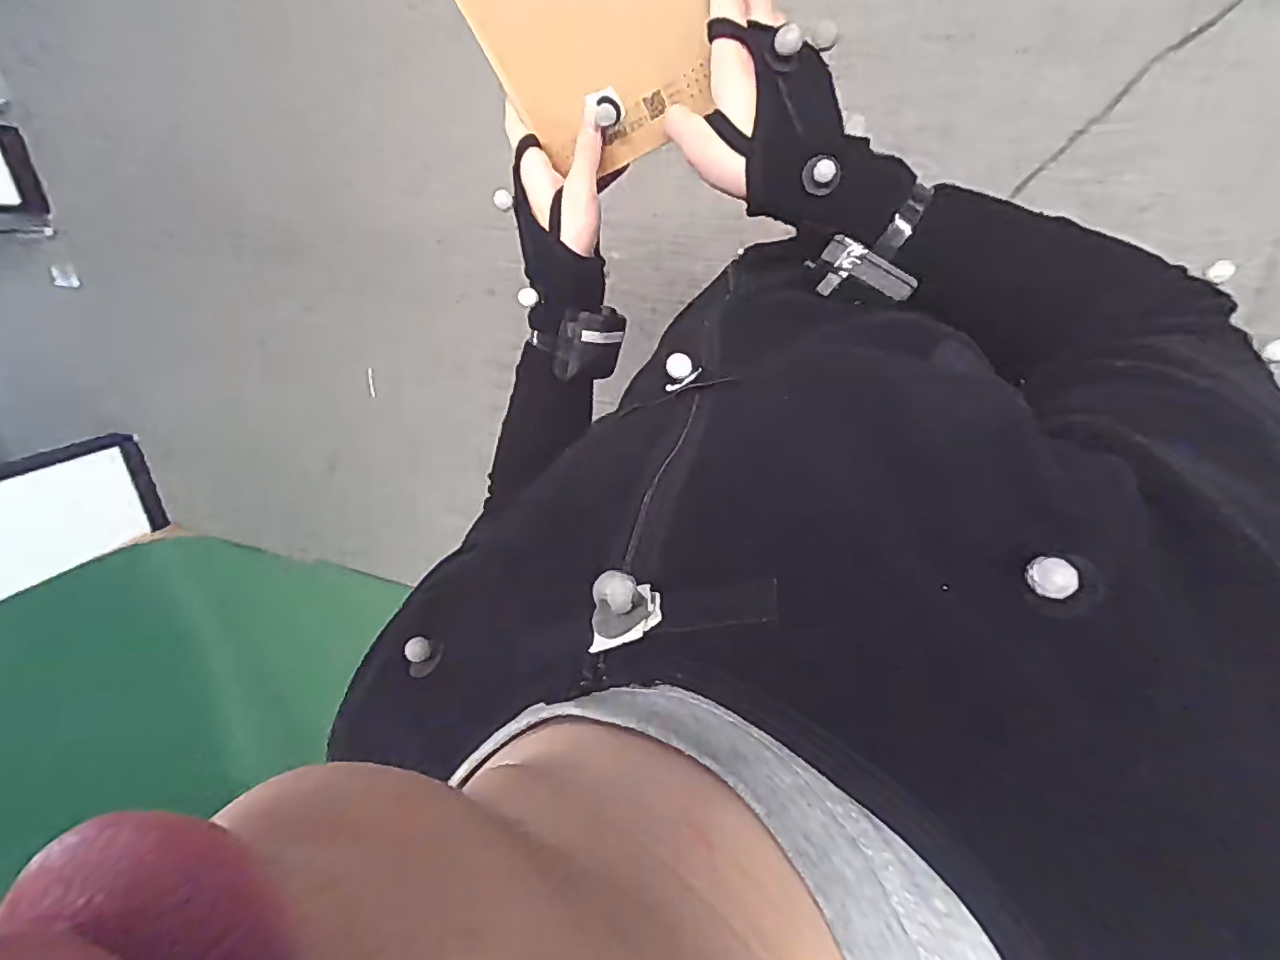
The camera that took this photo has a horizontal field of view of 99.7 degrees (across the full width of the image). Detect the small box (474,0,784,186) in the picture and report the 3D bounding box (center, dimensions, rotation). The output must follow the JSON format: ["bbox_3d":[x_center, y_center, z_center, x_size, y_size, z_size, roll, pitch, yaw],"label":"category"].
[{"bbox_3d":[-0.002,-0.362,0.414,0.168,0.179,0.176,-10,131,35],"label":"small box"}]
